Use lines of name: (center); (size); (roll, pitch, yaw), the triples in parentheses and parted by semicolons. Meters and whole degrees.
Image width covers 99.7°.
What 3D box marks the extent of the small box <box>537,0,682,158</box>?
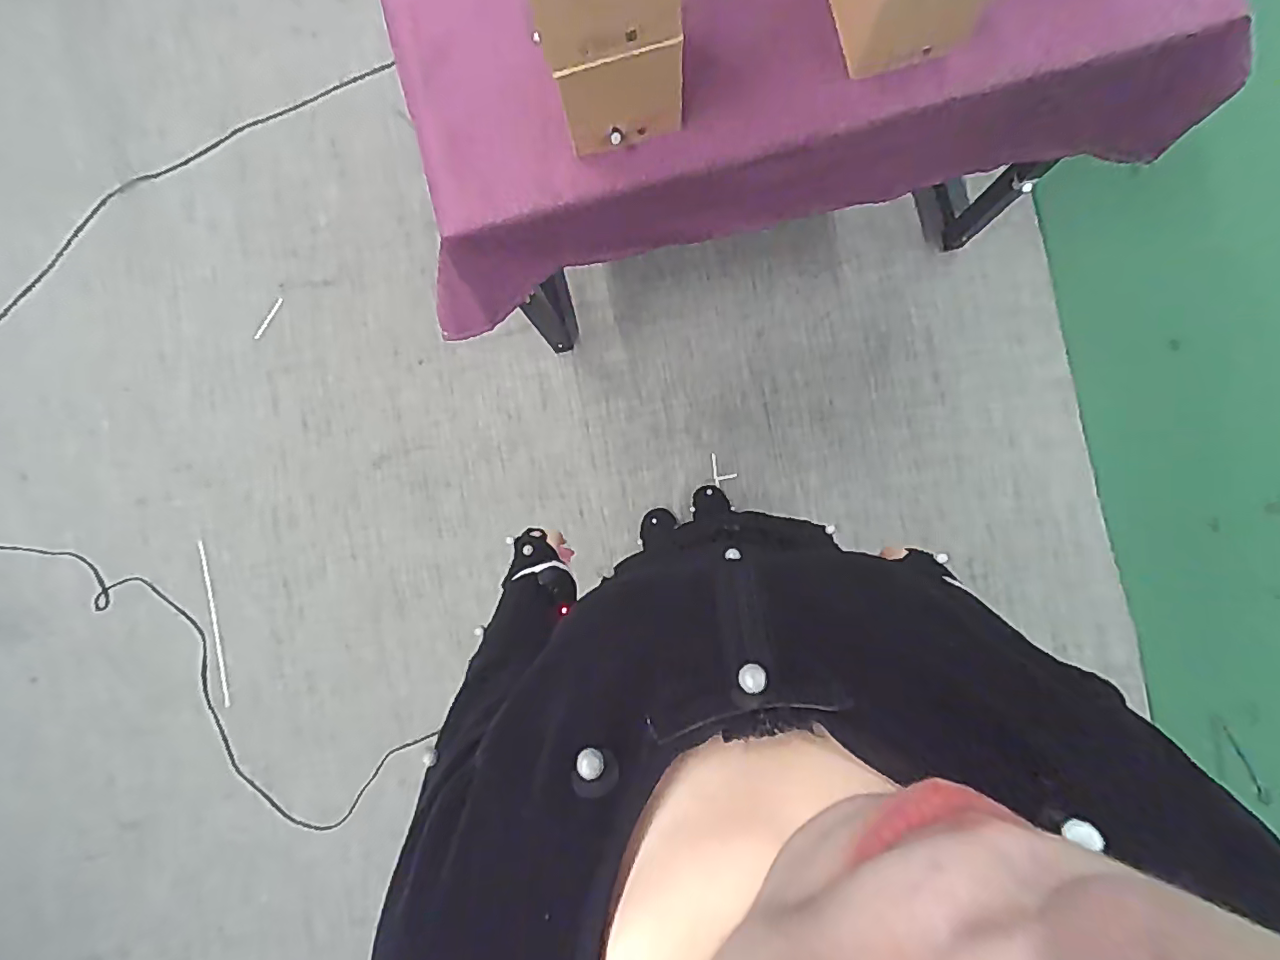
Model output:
small box: (-0.041, -0.591, 0.742); (0.168, 0.176, 0.179); (-13, 88, 3)

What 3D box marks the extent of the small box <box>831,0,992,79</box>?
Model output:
small box: (0.366, -0.693, 0.719); (0.168, 0.176, 0.179); (-14, 86, 4)
